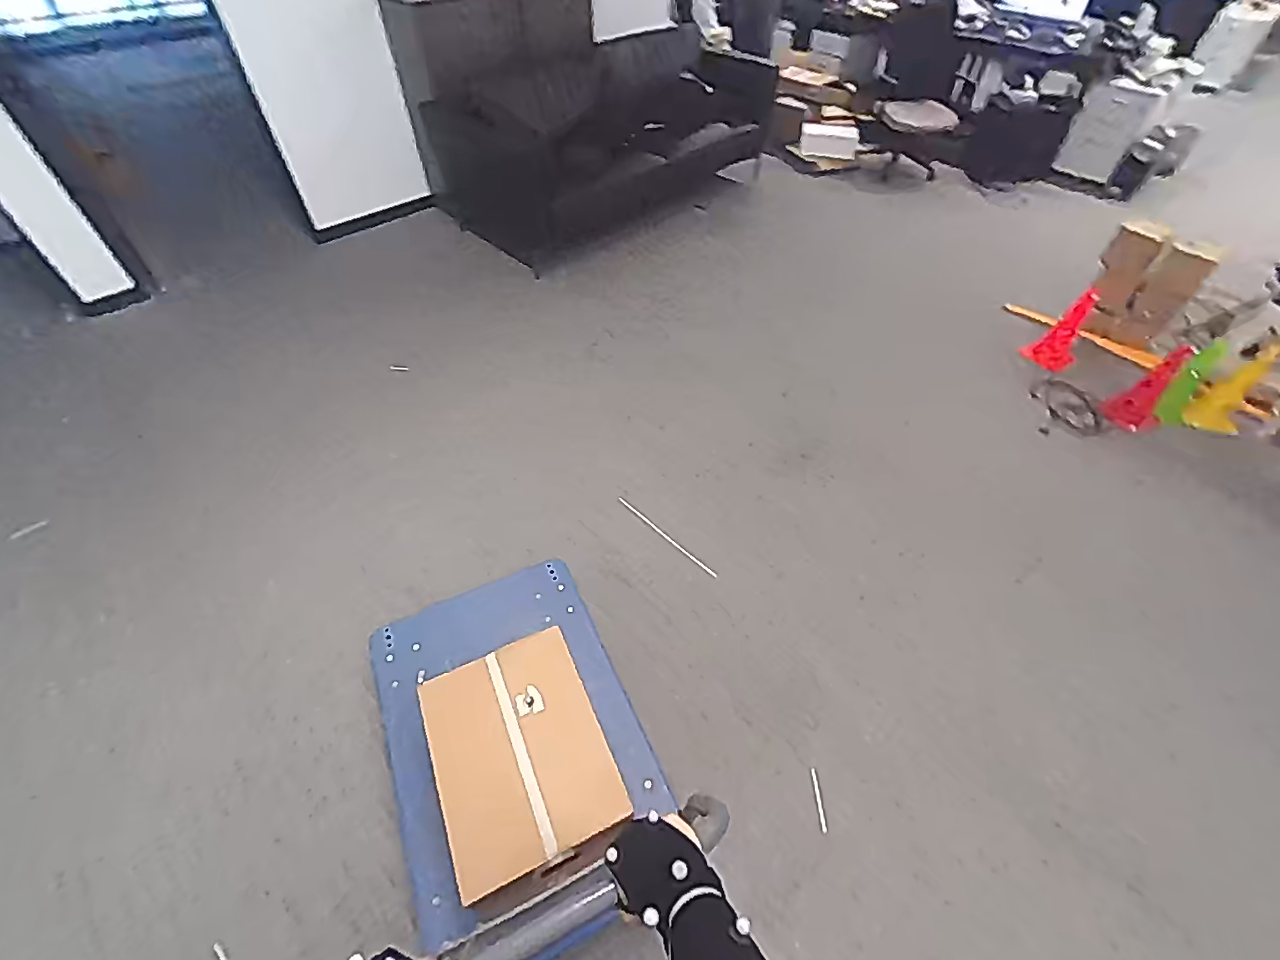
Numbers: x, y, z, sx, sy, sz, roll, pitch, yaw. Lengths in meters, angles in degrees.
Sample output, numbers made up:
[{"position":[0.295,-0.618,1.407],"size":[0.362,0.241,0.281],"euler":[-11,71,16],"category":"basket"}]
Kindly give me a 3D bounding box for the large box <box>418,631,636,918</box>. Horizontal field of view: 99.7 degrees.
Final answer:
[{"position":[-0.232,0.614,1.149],"size":[0.320,0.320,0.408],"euler":[-20,51,-18],"category":"large box"}]
